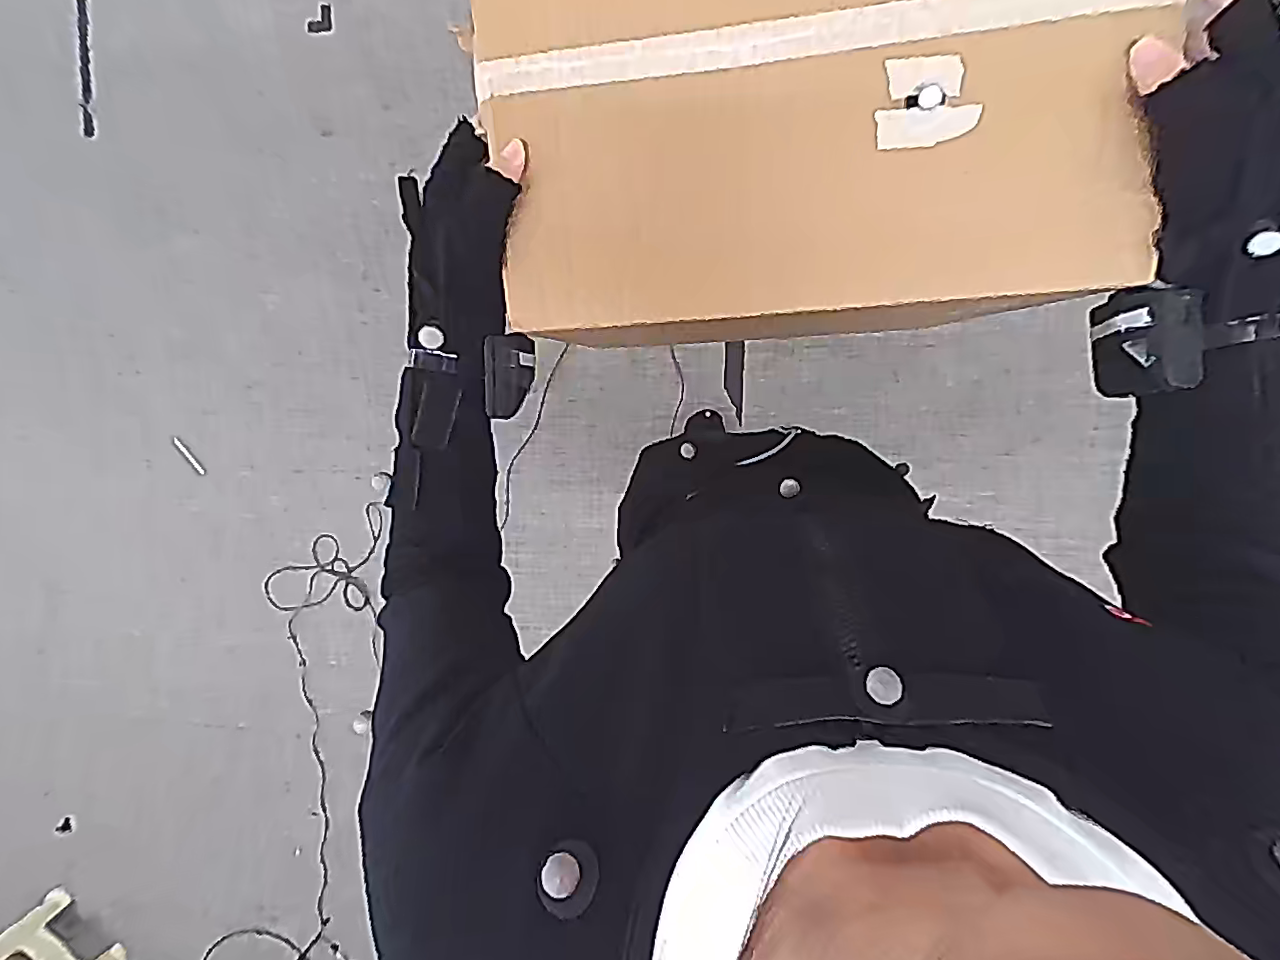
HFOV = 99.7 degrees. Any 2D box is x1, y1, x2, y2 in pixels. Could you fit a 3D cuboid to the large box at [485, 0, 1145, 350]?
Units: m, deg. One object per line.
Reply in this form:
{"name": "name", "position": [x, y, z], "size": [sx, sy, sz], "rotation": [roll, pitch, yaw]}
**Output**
{"name": "large box", "position": [0.112, -0.297, 0.484], "size": [0.408, 0.320, 0.320], "rotation": [-3, 101, 6]}
